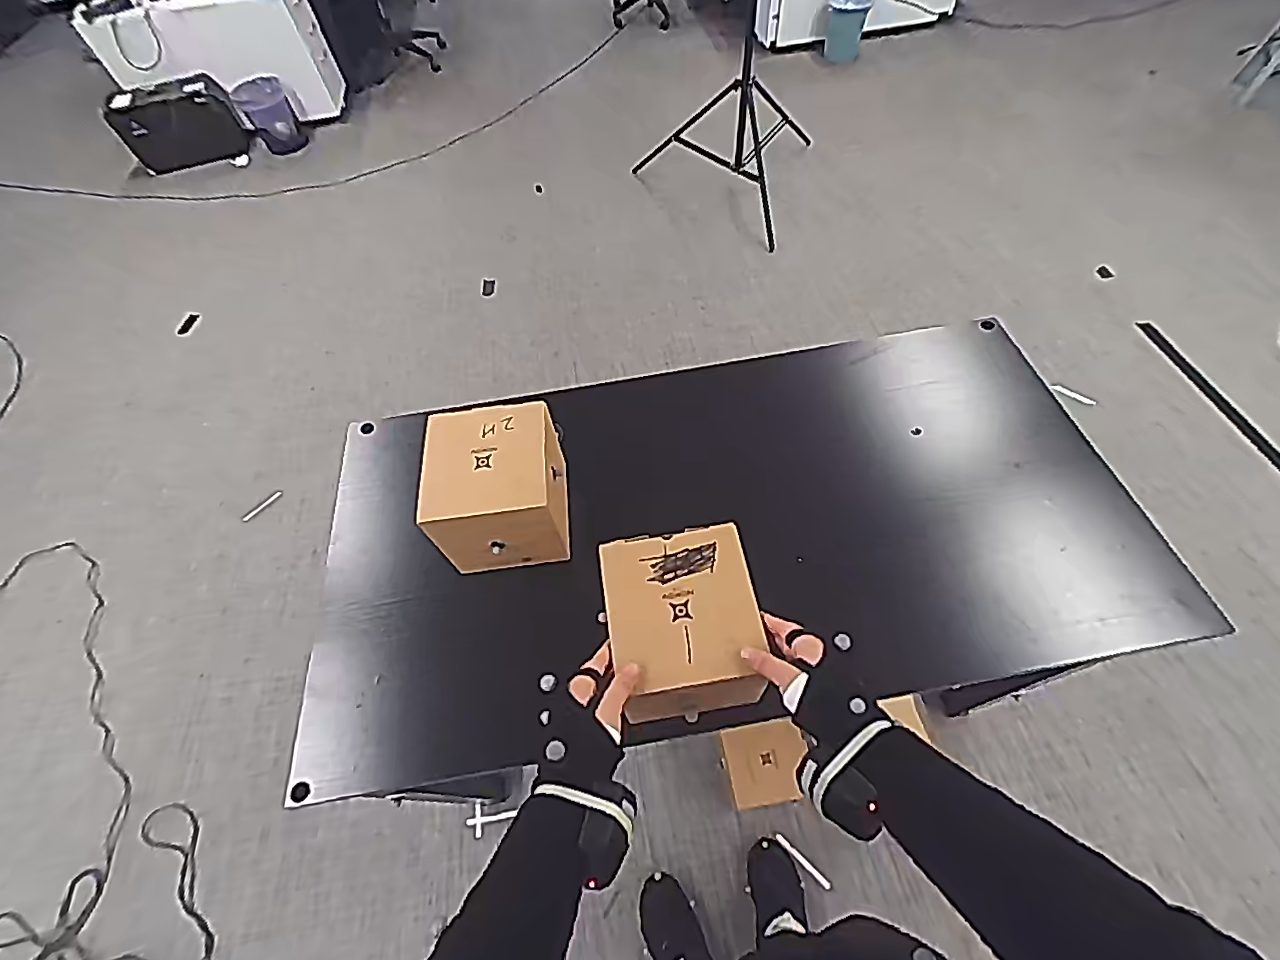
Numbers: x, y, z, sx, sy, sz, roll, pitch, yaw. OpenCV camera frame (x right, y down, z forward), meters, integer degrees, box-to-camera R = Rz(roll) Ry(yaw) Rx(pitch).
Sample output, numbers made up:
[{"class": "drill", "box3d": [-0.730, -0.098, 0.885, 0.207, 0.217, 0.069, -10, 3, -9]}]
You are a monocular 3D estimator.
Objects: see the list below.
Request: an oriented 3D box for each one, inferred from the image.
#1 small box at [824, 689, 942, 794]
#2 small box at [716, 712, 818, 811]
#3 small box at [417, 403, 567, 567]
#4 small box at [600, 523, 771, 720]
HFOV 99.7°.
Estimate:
[{"class": "small box", "box3d": [0.535, 0.593, 1.222, 0.168, 0.176, 0.179, -11, 57, -1]}, {"class": "small box", "box3d": [0.276, 0.637, 1.219, 0.179, 0.176, 0.168, -11, 57, -1]}, {"class": "small box", "box3d": [-0.202, 0.016, 0.787, 0.168, 0.176, 0.179, -7, 57, 0]}, {"class": "small box", "box3d": [0.048, 0.177, 0.663, 0.168, 0.176, 0.179, -10, 58, -1]}]
